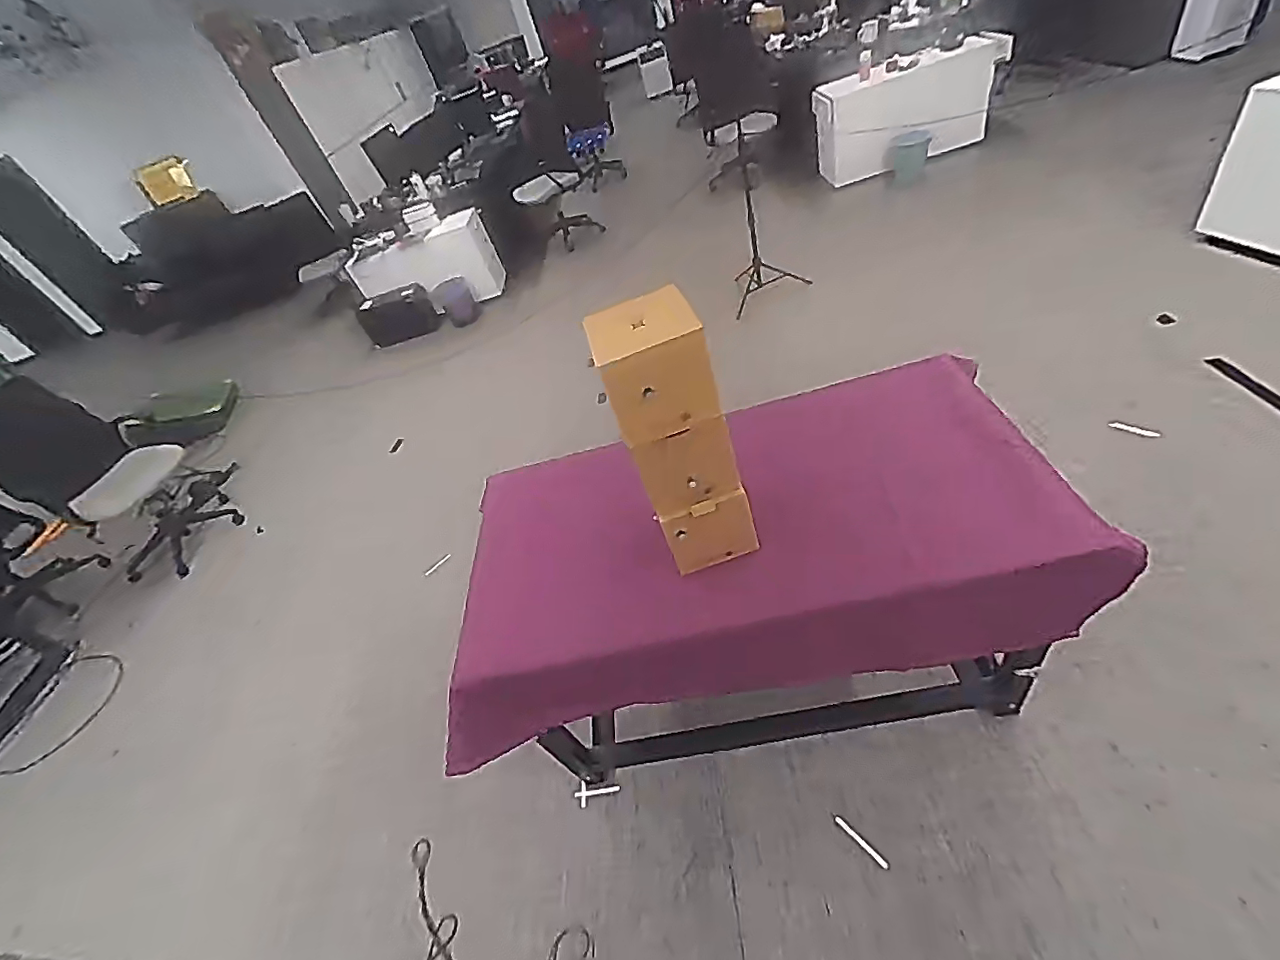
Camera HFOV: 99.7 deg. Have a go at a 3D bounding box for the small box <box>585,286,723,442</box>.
[{"bbox_3d":[0.024,-0.181,0.884,0.168,0.176,0.179,-20,40,3],"label":"small box"}]

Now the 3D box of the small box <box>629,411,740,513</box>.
[{"bbox_3d":[0.074,-0.071,0.993,0.168,0.176,0.179,-19,41,5],"label":"small box"}]
